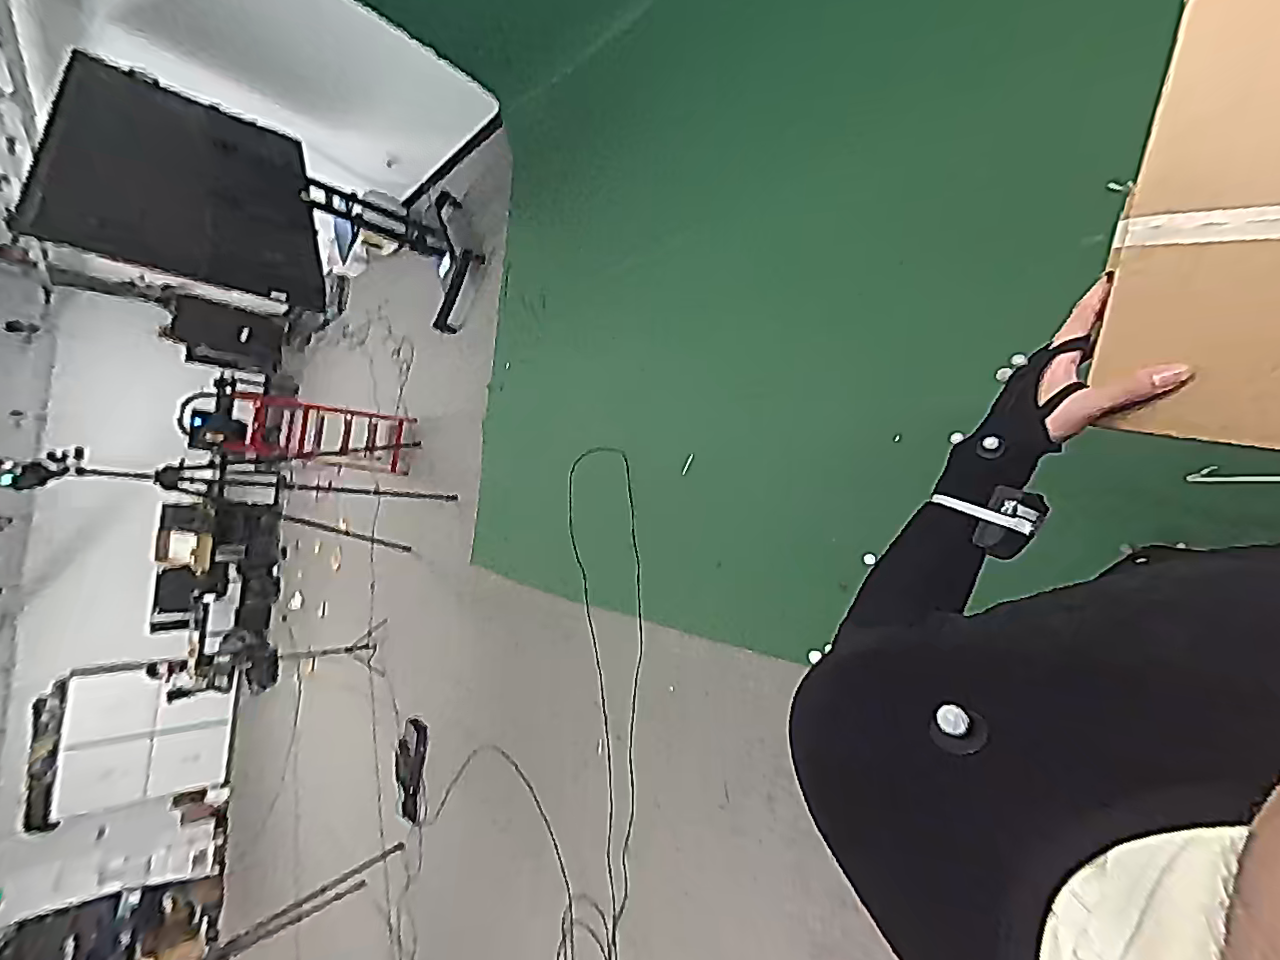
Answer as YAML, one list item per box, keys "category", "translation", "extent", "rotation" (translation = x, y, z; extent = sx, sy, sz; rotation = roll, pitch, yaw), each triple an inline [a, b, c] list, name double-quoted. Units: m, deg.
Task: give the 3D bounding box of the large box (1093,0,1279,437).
- category: "large box"
  translation: [0.642, -0.187, 0.397]
  extent: [0.408, 0.320, 0.320]
  rotation: [18, 113, 44]
